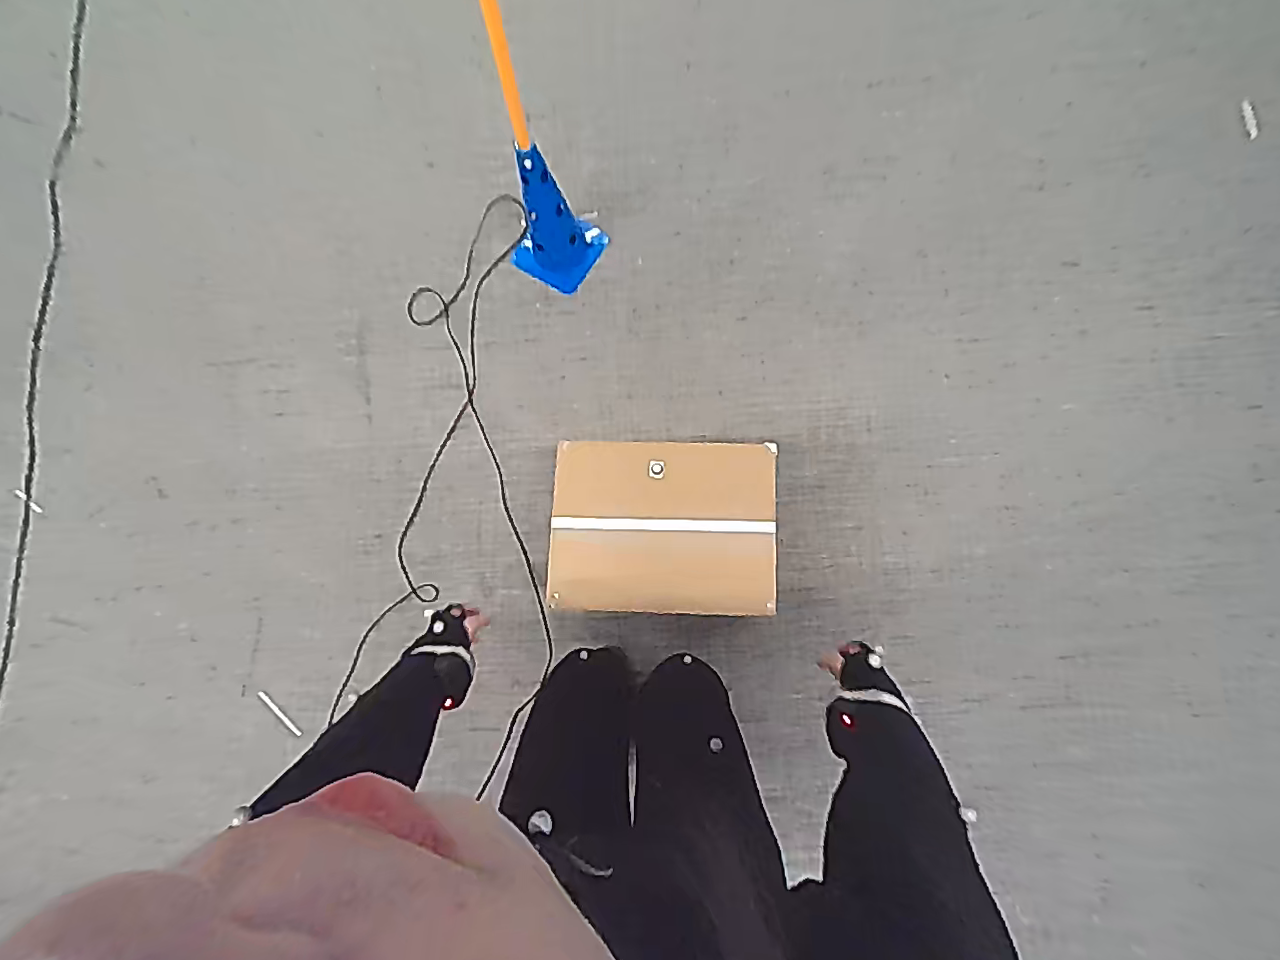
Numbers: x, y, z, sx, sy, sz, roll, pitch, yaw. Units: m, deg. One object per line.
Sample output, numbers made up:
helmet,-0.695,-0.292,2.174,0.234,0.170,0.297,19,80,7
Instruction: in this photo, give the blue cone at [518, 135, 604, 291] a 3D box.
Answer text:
blue cone,-0.212,-0.626,1.236,0.192,0.380,0.193,29,82,7
